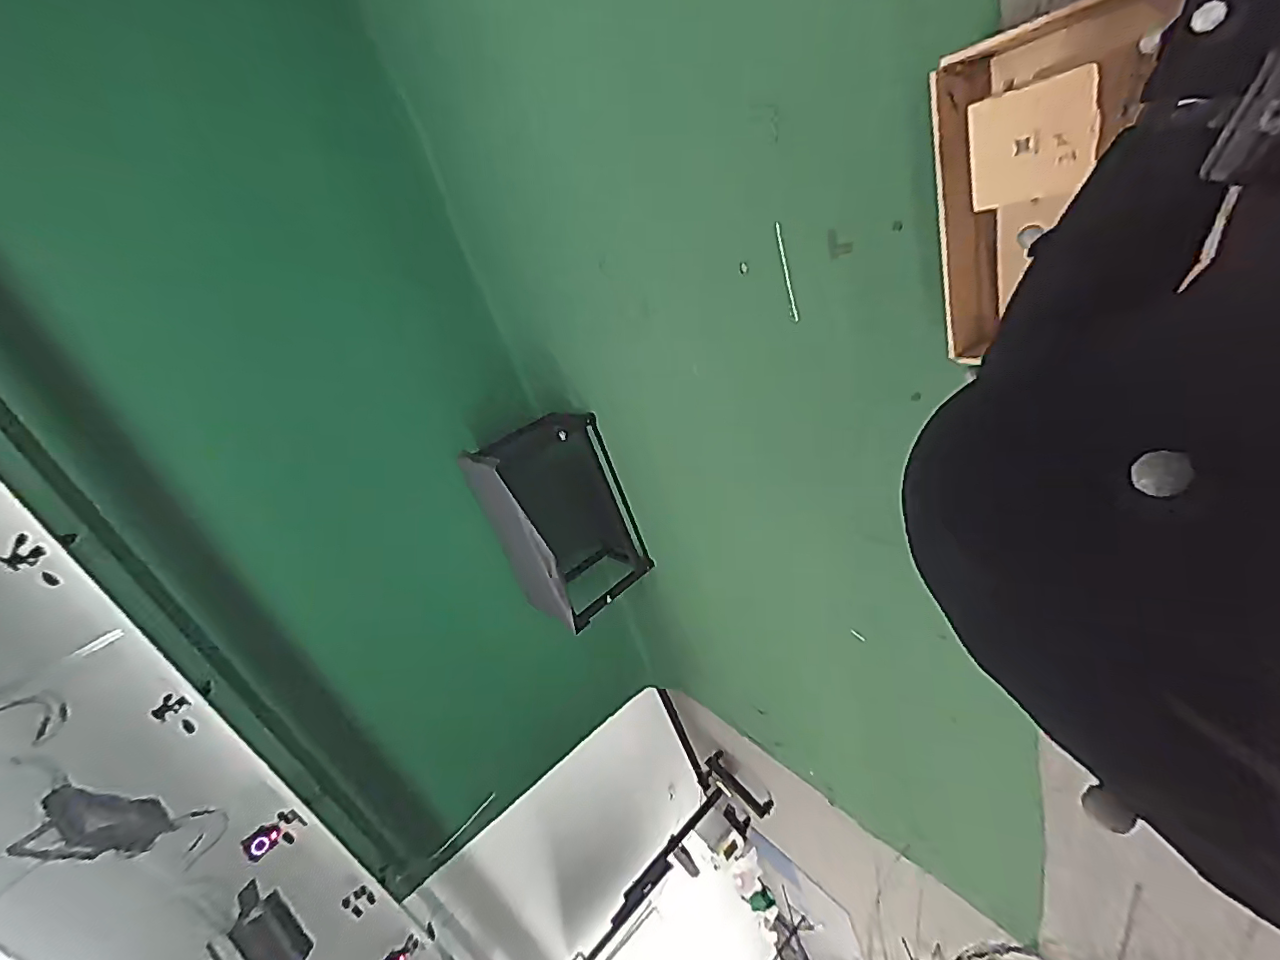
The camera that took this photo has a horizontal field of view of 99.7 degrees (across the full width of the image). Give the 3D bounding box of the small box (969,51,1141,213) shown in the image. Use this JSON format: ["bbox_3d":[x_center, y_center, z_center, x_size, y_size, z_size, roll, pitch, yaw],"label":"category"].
[{"bbox_3d":[0.671,-0.560,0.882,0.179,0.176,0.168,16,134,52],"label":"small box"}]
